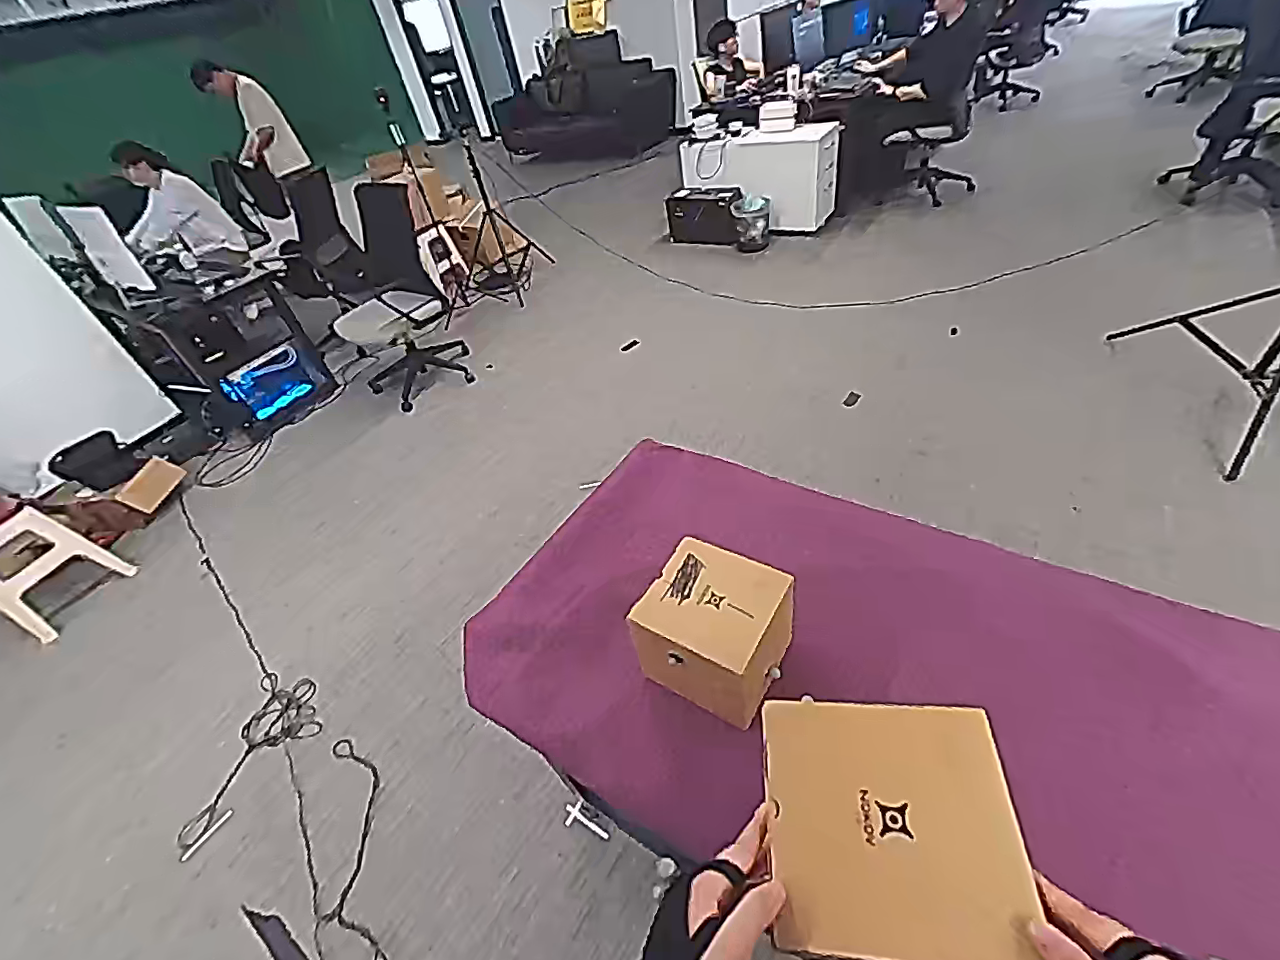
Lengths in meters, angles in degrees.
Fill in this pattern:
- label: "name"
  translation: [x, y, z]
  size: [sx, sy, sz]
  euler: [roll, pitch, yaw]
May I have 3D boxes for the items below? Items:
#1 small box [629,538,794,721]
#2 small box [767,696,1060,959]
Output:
- label: "small box"
  translation: [0.111, 0.219, 0.795]
  size: [0.179, 0.176, 0.168]
  euler: [19, 51, 30]
- label: "small box"
  translation: [0.201, 0.298, 0.459]
  size: [0.179, 0.176, 0.168]
  euler: [-3, 49, 13]
